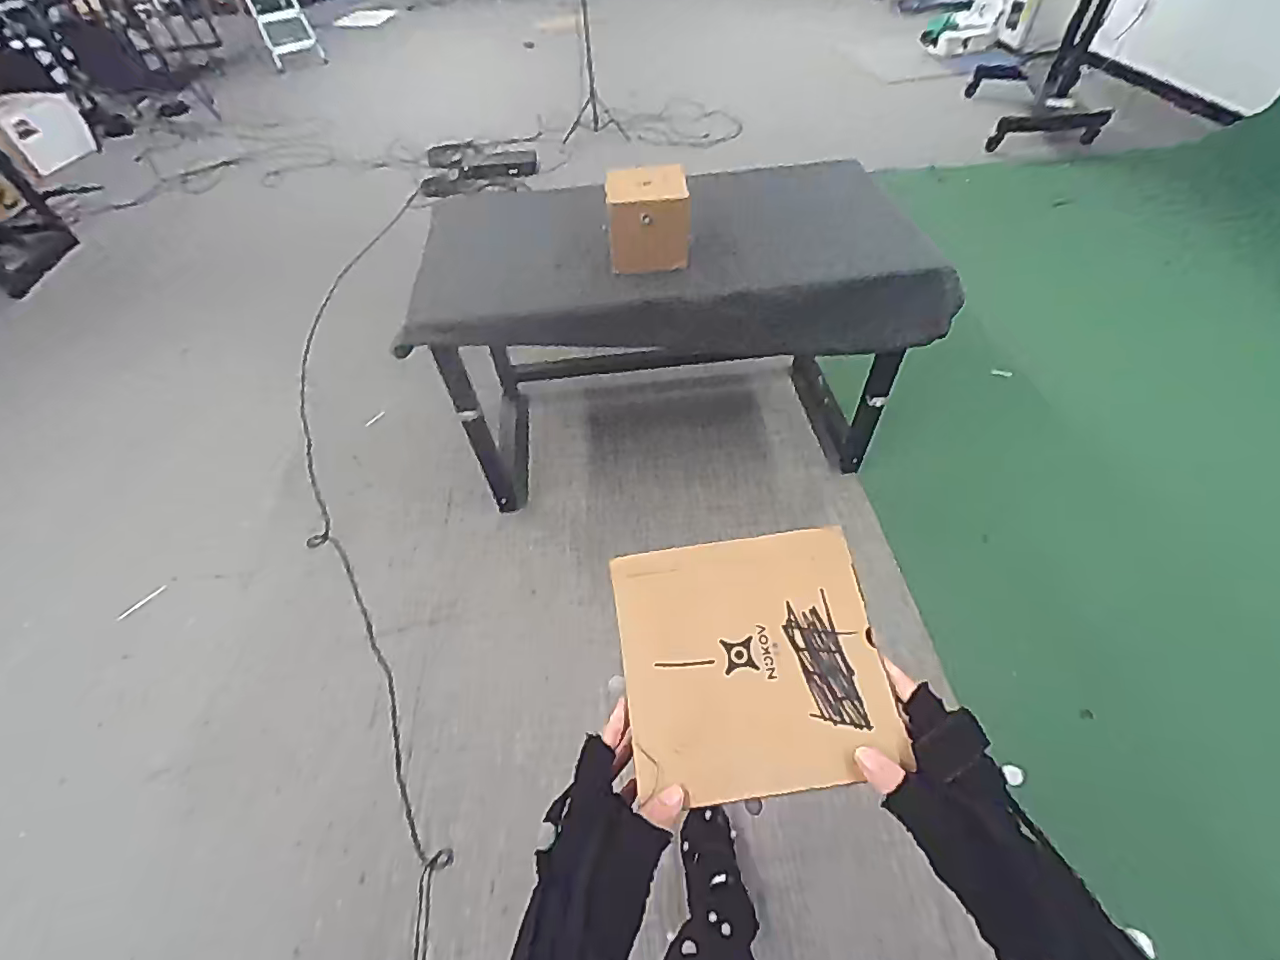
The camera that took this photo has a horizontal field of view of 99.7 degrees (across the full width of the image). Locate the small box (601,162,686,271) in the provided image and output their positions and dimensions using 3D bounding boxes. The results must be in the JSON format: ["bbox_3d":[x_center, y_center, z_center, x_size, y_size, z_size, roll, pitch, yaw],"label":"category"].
[{"bbox_3d":[0.010,-0.597,1.236,0.179,0.176,0.168,-6,52,-1],"label":"small box"}]

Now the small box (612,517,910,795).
[{"bbox_3d":[0.078,0.145,0.442,0.179,0.176,0.168,-9,64,-1],"label":"small box"}]
